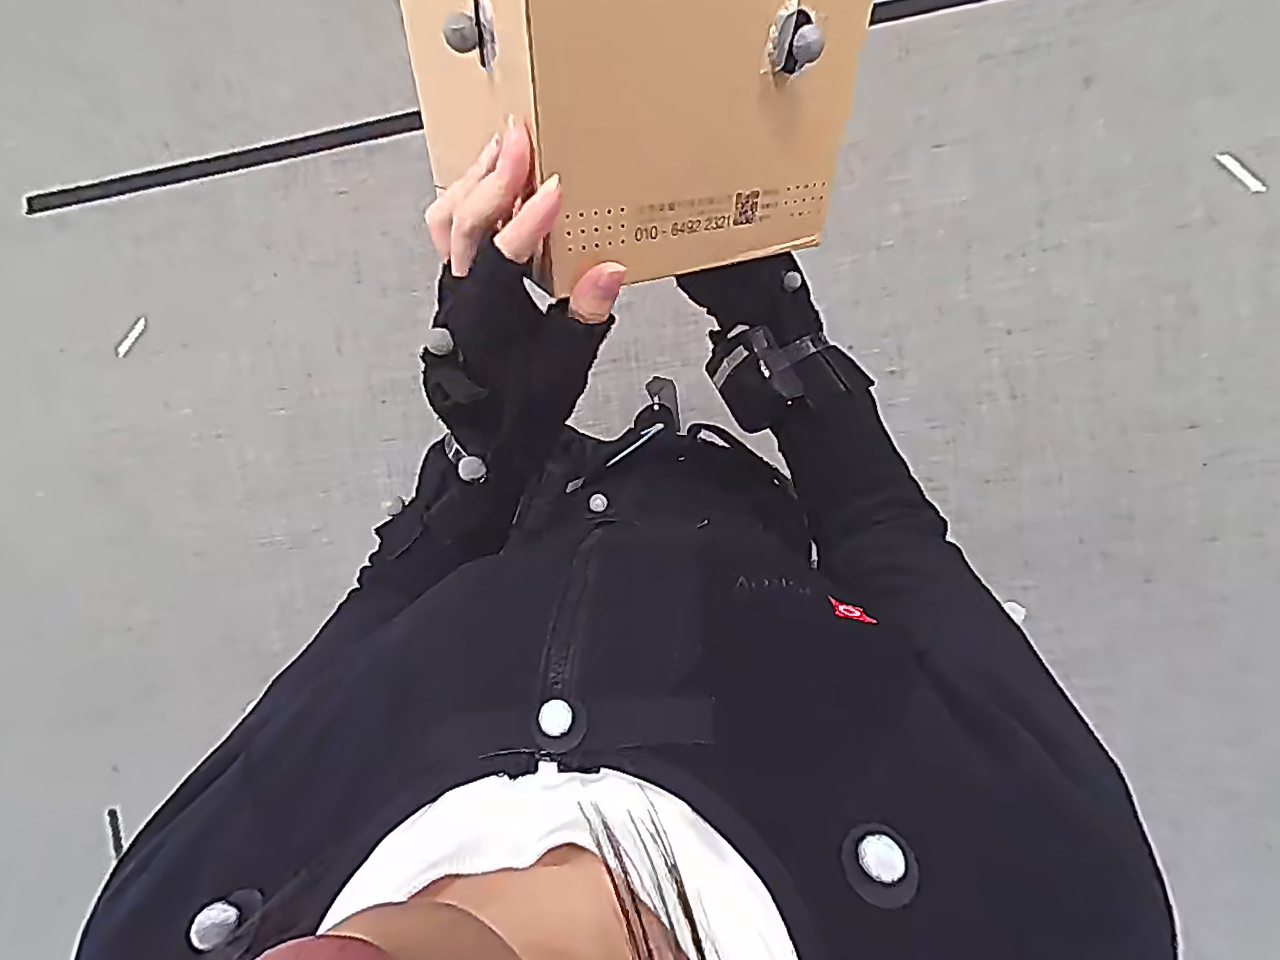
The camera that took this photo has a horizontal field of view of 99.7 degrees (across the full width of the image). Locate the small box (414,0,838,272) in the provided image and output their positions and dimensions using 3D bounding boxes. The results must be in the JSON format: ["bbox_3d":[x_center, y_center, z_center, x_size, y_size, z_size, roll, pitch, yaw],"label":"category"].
[{"bbox_3d":[-0.011,-0.223,0.292,0.168,0.179,0.176,-21,134,-25],"label":"small box"}]
